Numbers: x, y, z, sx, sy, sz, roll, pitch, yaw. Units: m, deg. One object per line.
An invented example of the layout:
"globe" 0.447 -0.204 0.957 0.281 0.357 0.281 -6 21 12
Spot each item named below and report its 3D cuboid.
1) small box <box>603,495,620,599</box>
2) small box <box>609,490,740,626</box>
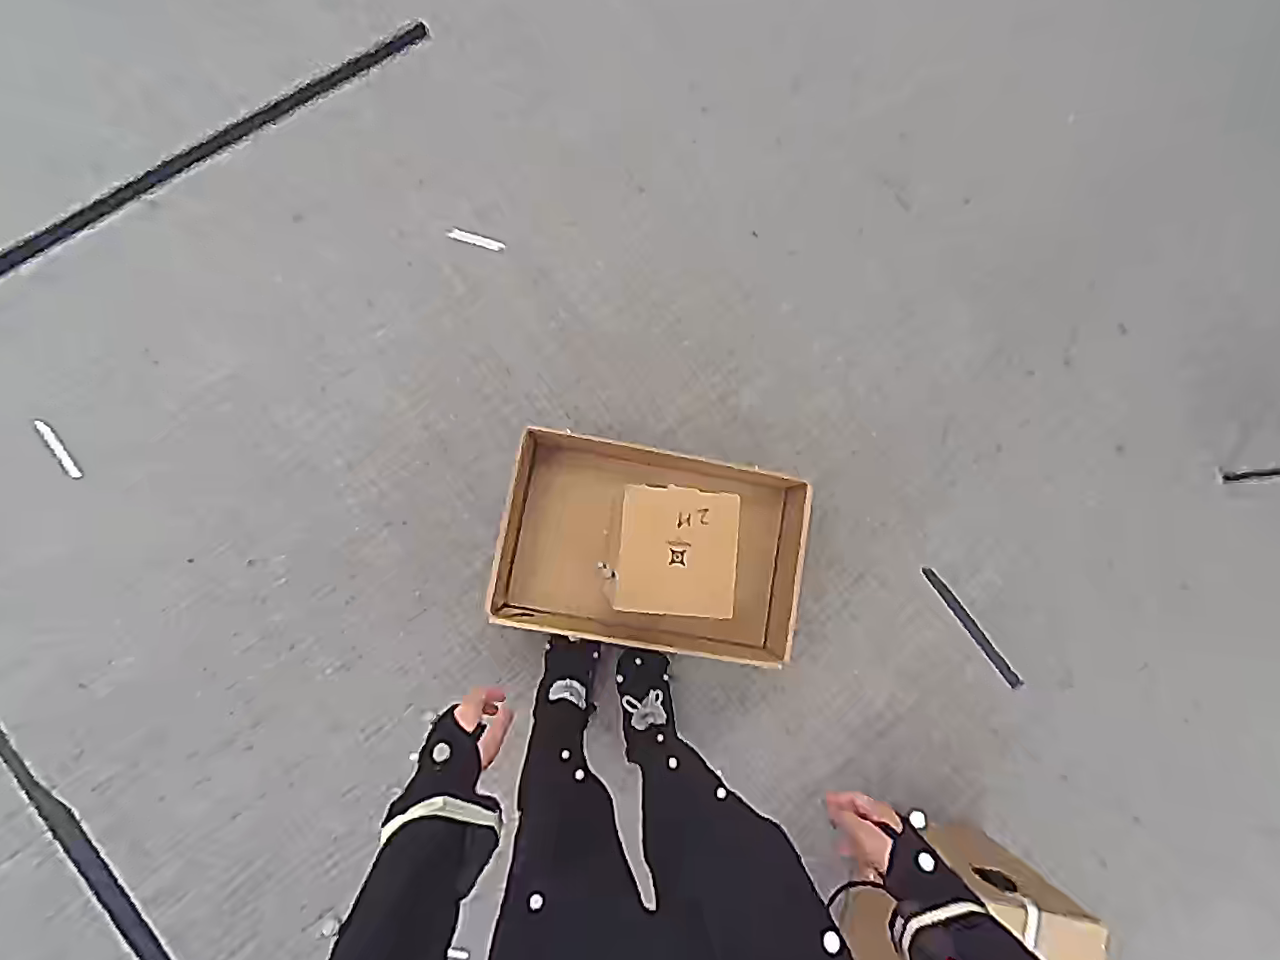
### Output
"small box" 0.023 0.129 0.989 0.168 0.176 0.179 6 83 -6
"small box" 0.044 0.114 0.825 0.168 0.176 0.179 6 84 -7
